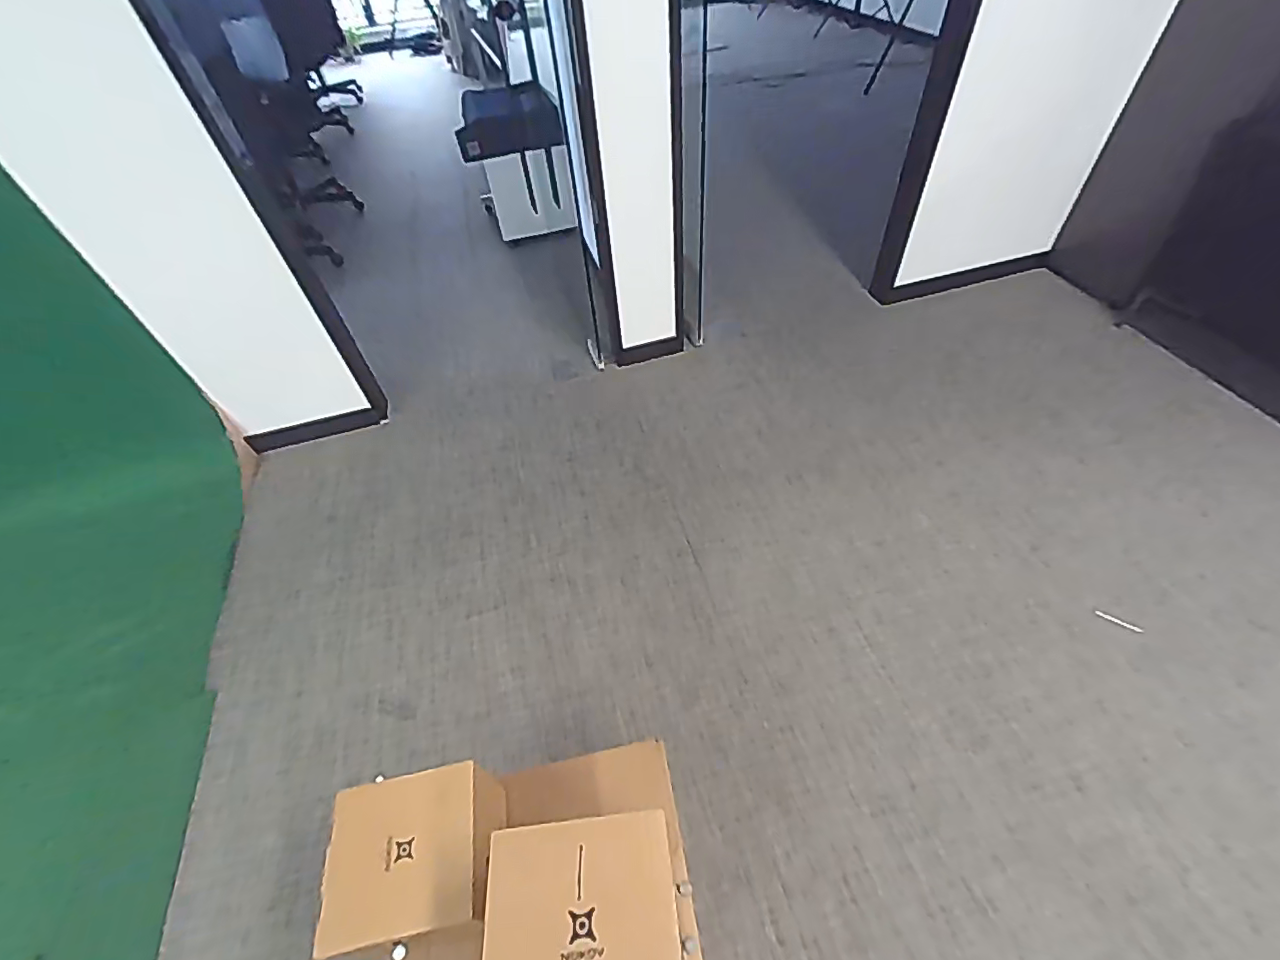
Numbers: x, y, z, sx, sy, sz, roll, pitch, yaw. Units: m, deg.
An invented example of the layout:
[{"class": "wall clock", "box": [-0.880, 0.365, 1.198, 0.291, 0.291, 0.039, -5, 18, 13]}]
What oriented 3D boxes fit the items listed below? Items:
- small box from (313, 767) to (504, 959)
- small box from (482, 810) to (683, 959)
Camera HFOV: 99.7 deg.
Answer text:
[{"class": "small box", "box": [-0.277, 0.495, 0.698, 0.179, 0.176, 0.168, -11, 48, -4]}, {"class": "small box", "box": [-0.045, 0.437, 0.509, 0.168, 0.176, 0.179, -7, 47, -2]}]
